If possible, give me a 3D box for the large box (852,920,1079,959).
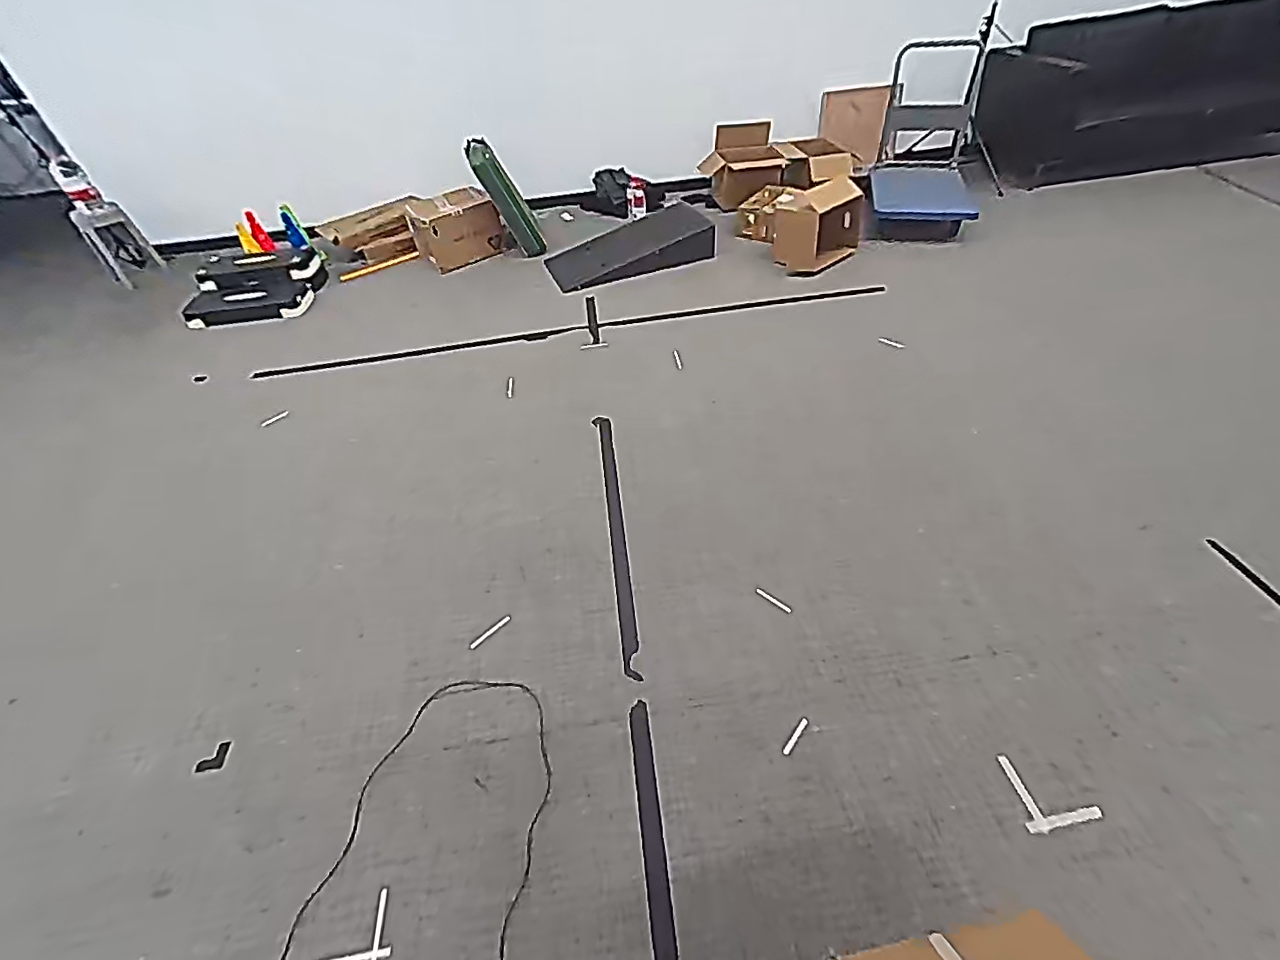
[{"bbox_3d":[0.446,0.773,0.550,0.320,0.408,0.320,-11,81,-1],"label":"large box"}]
